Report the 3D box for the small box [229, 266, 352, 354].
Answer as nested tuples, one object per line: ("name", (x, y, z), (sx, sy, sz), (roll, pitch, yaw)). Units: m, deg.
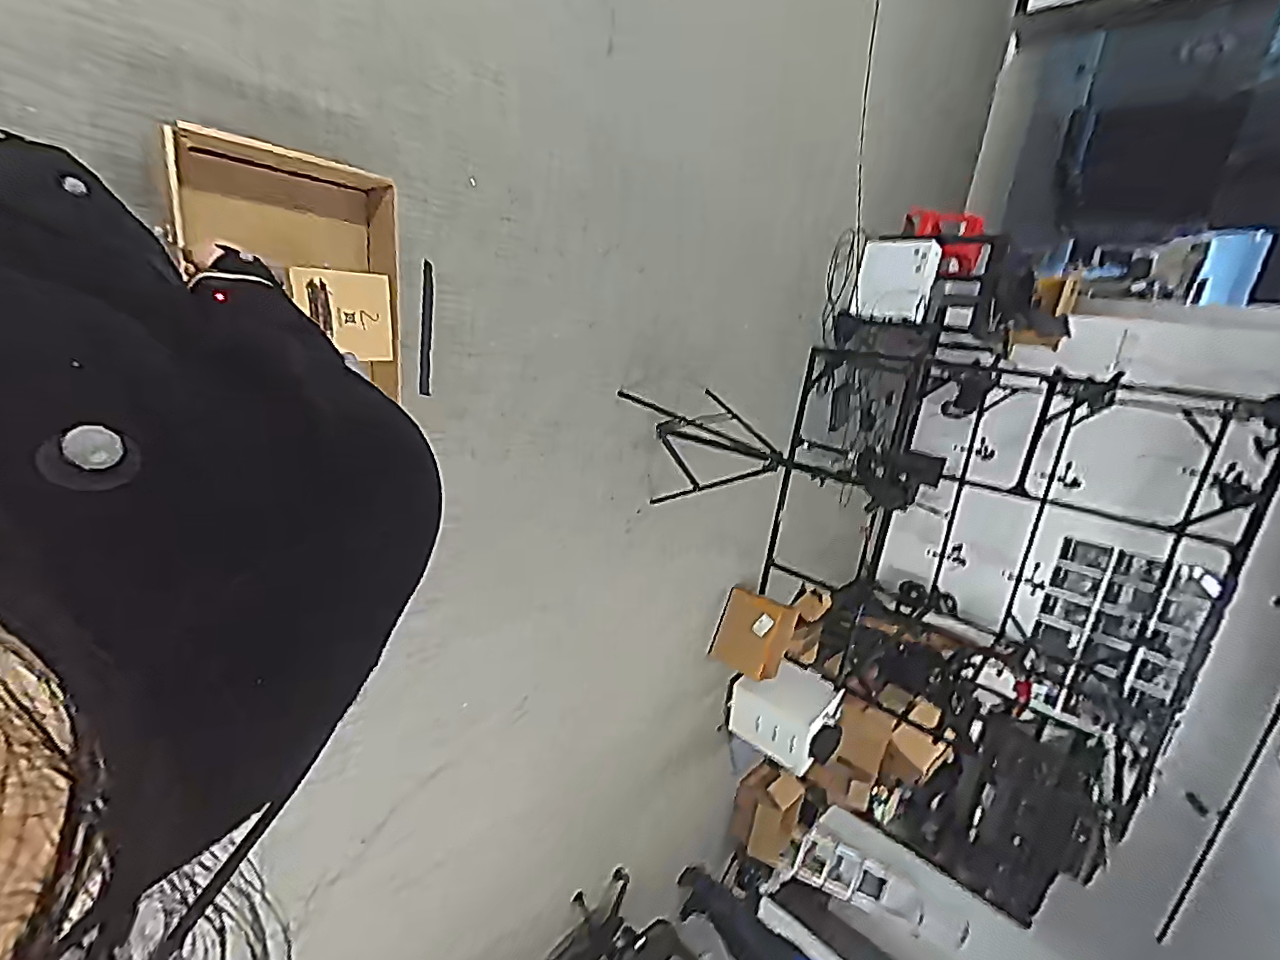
("small box", (-0.751, -0.365, 1.168), (0.179, 0.176, 0.168), (-14, 115, -47))
